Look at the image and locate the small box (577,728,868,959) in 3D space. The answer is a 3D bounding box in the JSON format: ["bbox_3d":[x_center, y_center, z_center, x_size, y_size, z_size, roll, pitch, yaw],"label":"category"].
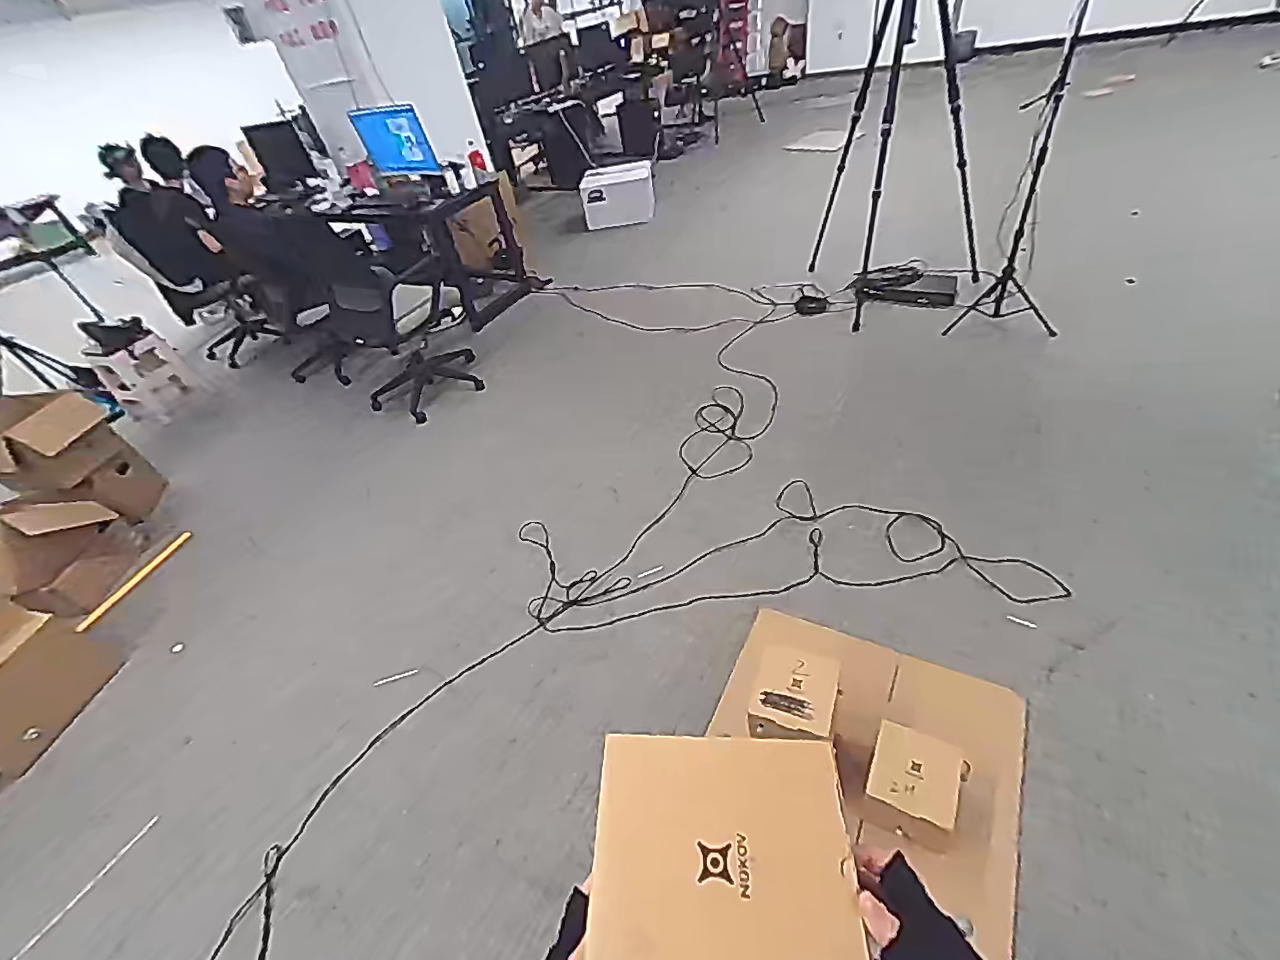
[{"bbox_3d":[0.057,0.310,0.415,0.179,0.176,0.168,0,43,5],"label":"small box"}]

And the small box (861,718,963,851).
[{"bbox_3d":[0.595,0.671,1.193,0.168,0.176,0.179,13,49,29],"label":"small box"}]

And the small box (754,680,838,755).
[{"bbox_3d":[0.373,0.622,1.302,0.168,0.176,0.179,10,47,25],"label":"small box"}]
